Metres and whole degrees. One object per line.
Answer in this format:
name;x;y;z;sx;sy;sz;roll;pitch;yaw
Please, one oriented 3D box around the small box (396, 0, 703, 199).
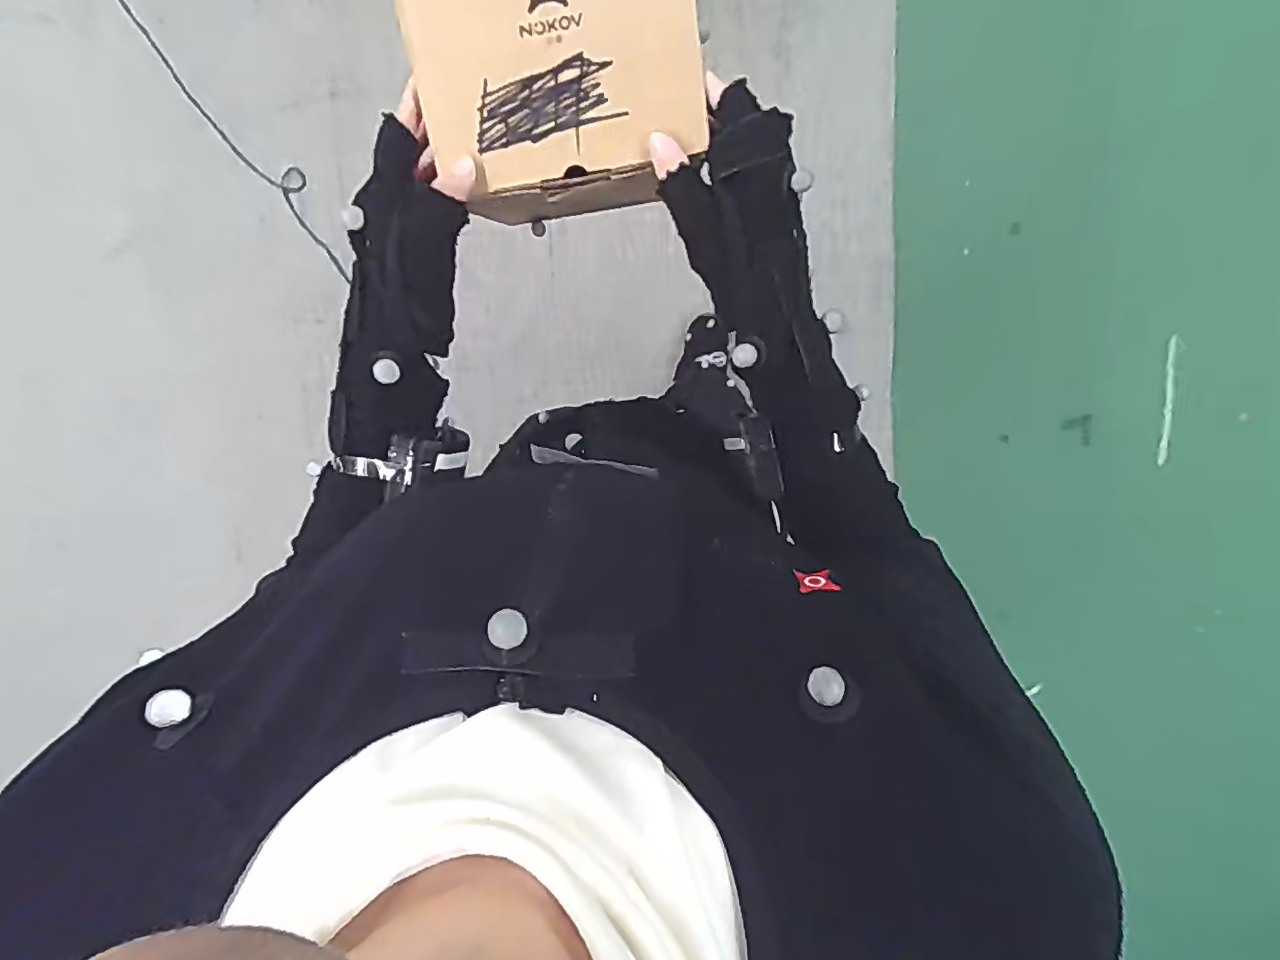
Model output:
small box;-0.051;-0.301;0.368;0.168;0.176;0.179;-8;110;4
